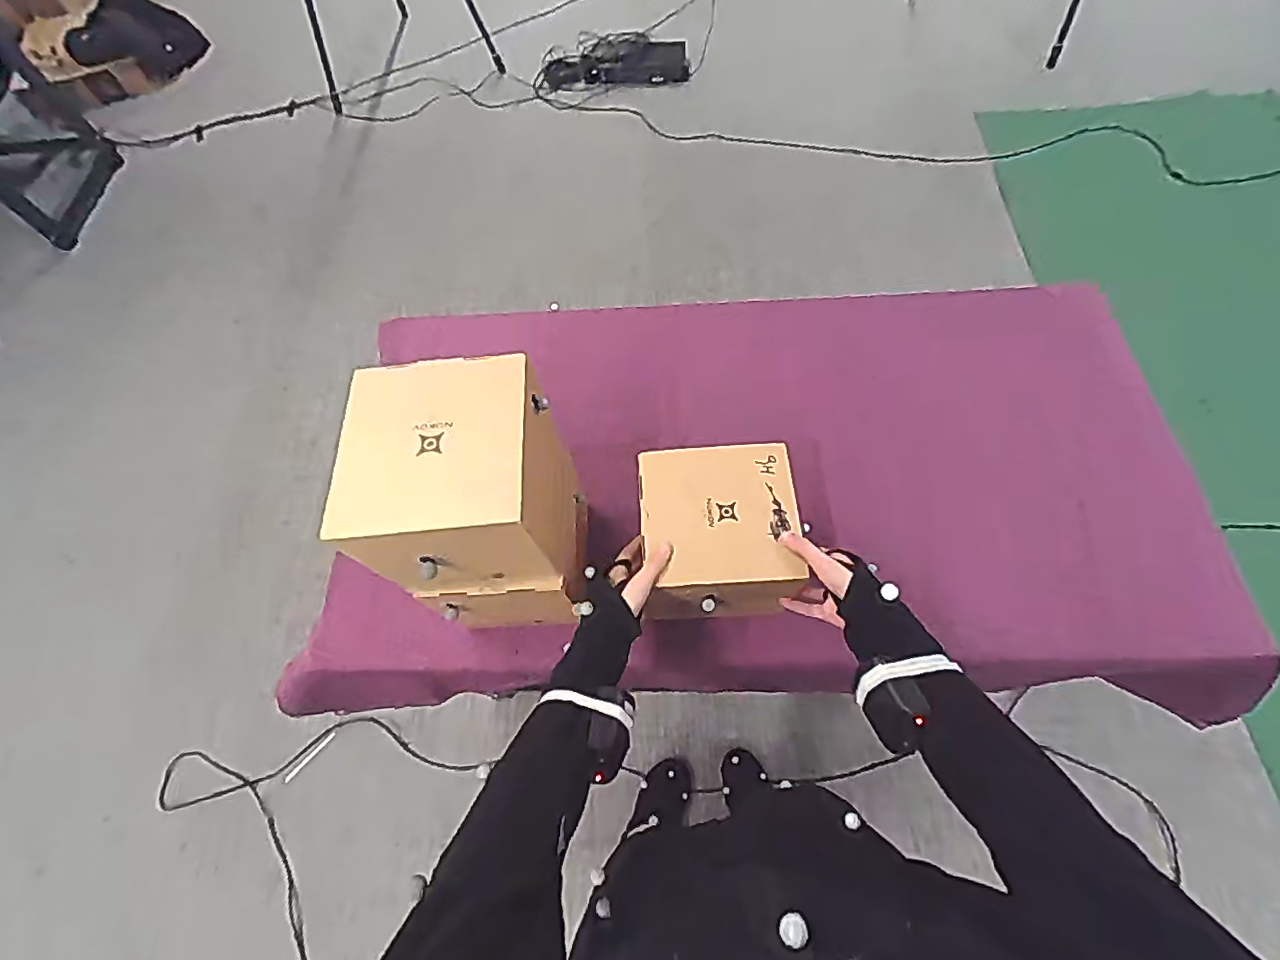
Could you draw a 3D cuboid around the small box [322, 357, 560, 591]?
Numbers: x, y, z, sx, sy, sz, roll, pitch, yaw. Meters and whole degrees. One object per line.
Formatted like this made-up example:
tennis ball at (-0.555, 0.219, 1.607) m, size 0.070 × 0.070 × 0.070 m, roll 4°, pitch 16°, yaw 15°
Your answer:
small box at (-0.177, 0.005, 0.543) m, size 0.168 × 0.176 × 0.179 m, roll -6°, pitch 62°, yaw 2°
